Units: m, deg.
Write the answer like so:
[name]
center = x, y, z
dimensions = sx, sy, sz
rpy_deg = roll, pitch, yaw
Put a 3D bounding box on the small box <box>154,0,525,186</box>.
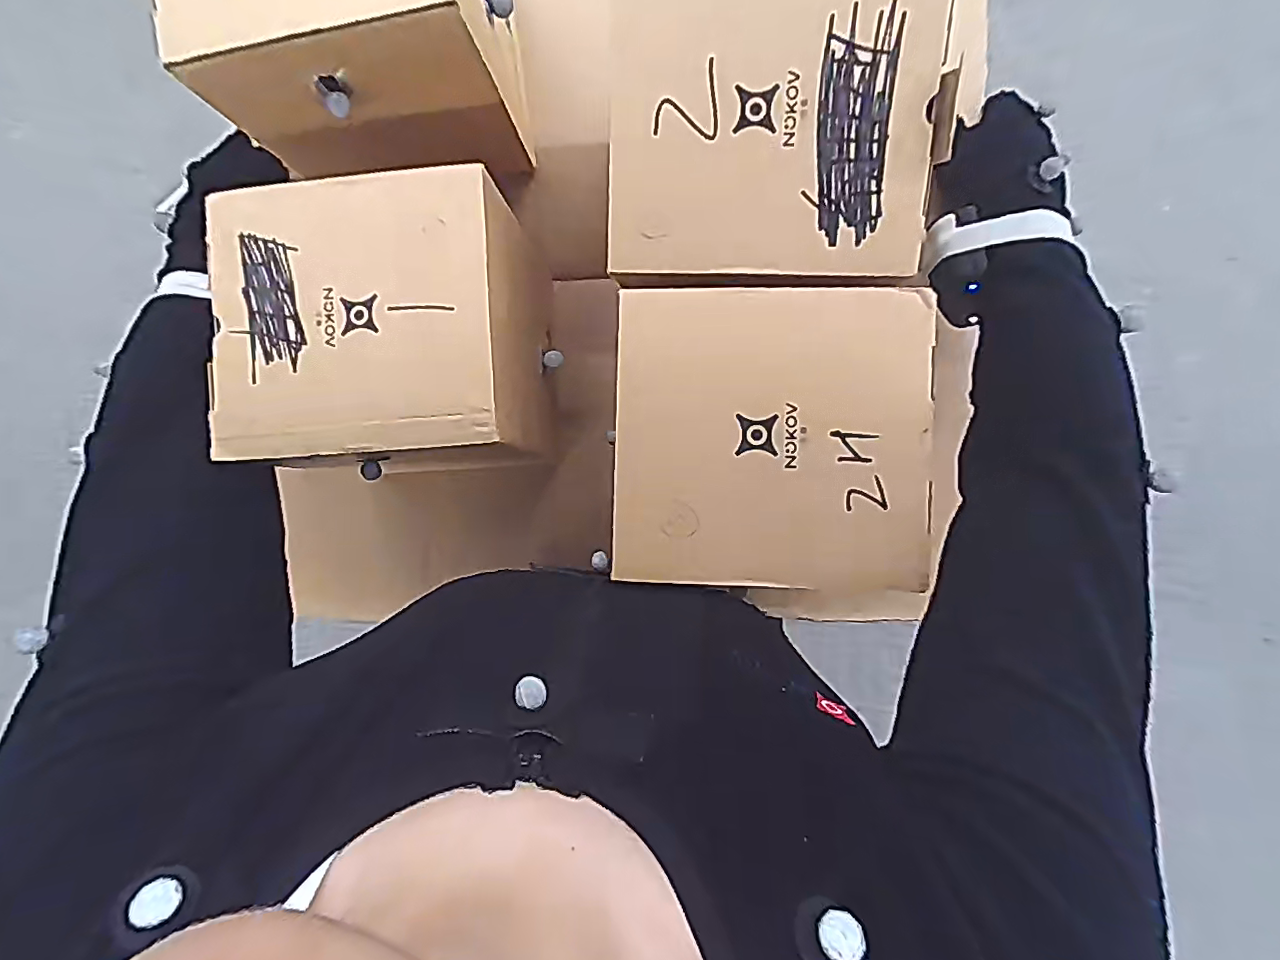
[small box]
center = -0.189, -0.337, 0.376
dimensions = 0.179, 0.176, 0.168
rpy_deg = -8, 91, 6
